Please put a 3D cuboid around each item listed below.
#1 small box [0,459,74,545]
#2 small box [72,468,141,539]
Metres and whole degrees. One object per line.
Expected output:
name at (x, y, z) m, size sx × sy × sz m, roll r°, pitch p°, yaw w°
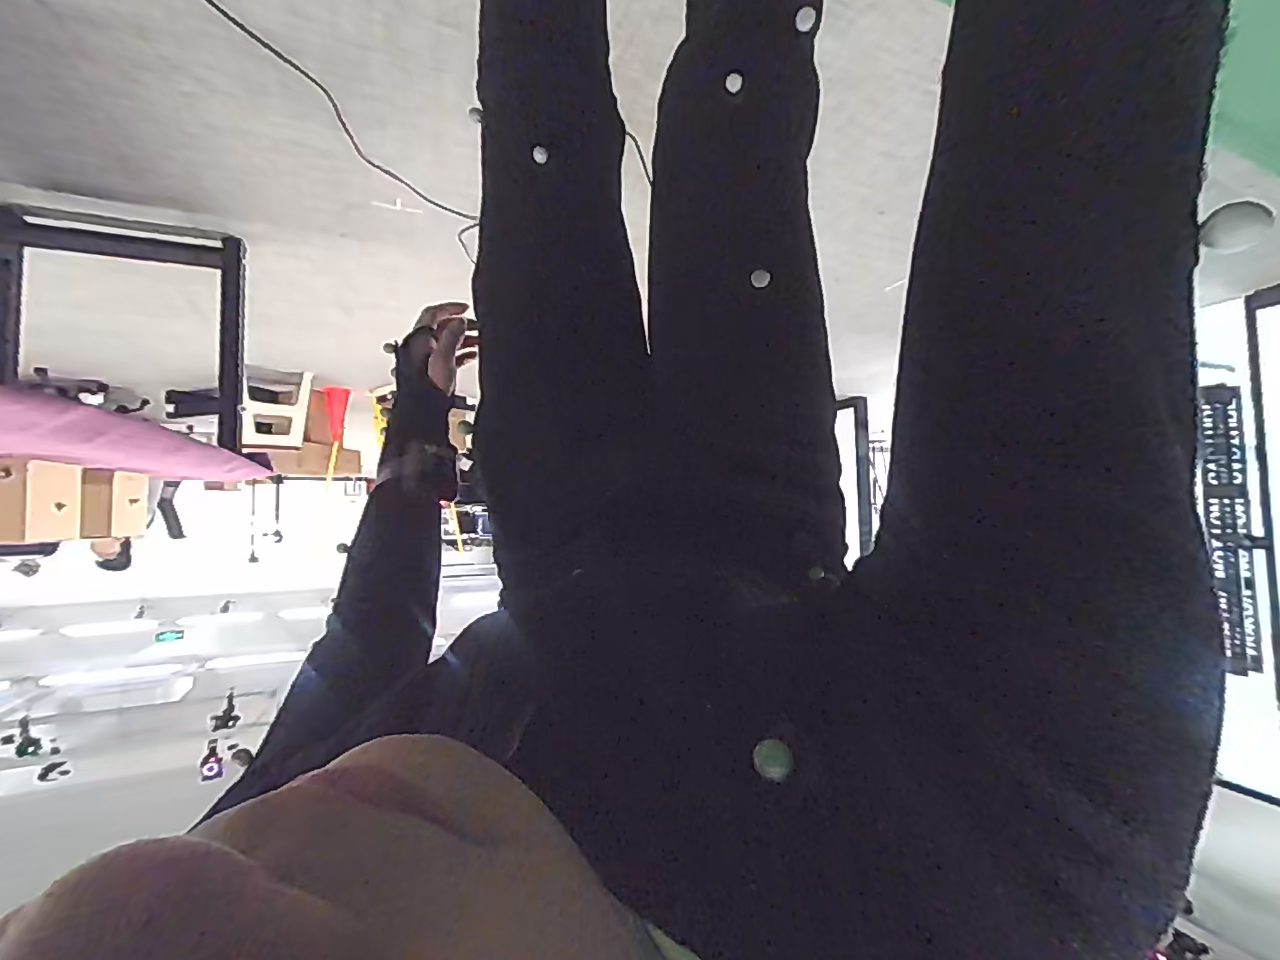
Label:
small box at (-1.289, 0.043, 1.079) m, size 0.168 × 0.176 × 0.179 m, roll 0°, pitch 178°, yaw -21°
small box at (-1.397, 0.059, 1.349) m, size 0.179 × 0.176 × 0.168 m, roll -1°, pitch 177°, yaw -21°
